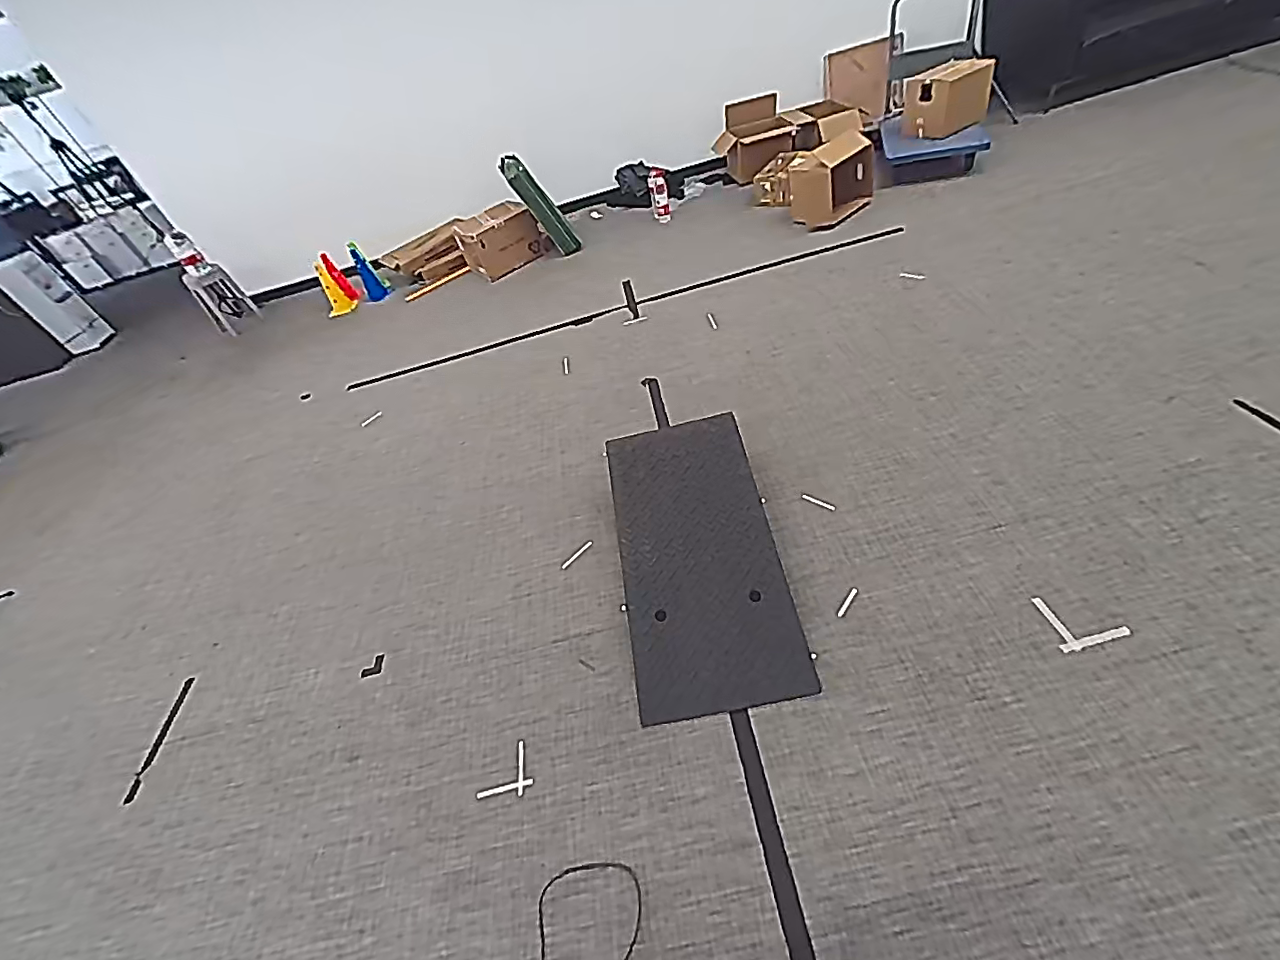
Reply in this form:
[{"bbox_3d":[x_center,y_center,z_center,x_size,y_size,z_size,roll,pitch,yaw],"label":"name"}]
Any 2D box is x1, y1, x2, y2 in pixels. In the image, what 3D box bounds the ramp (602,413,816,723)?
[{"bbox_3d":[0.167,0.207,1.731,0.509,0.206,0.991,-14,44,3],"label":"ramp"}]
